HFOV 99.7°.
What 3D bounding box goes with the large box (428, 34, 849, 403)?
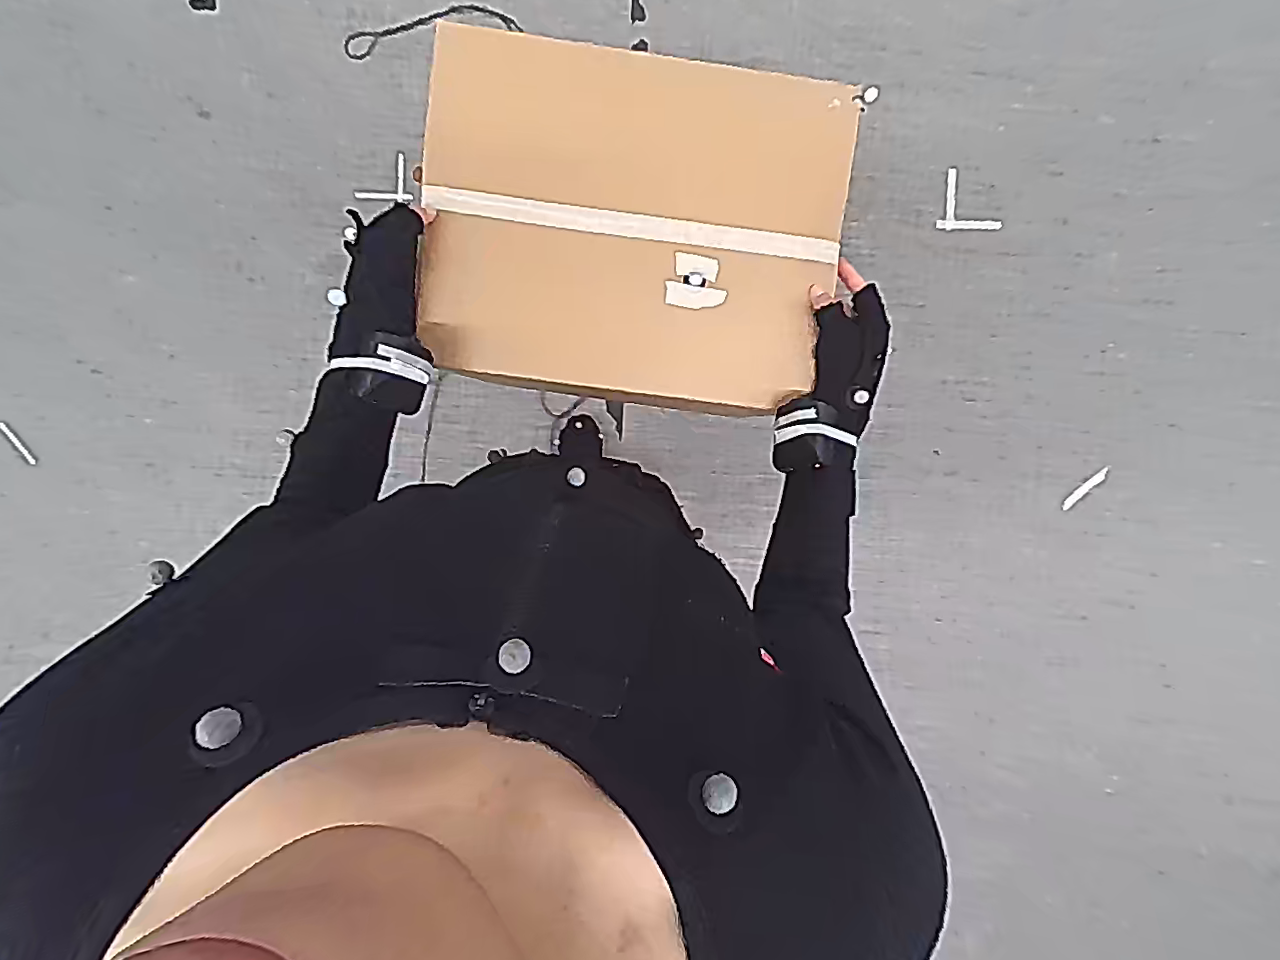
[{"bbox_3d":[-0.011,-0.275,0.689,0.408,0.320,0.320,7,97,-3],"label":"large box"}]
